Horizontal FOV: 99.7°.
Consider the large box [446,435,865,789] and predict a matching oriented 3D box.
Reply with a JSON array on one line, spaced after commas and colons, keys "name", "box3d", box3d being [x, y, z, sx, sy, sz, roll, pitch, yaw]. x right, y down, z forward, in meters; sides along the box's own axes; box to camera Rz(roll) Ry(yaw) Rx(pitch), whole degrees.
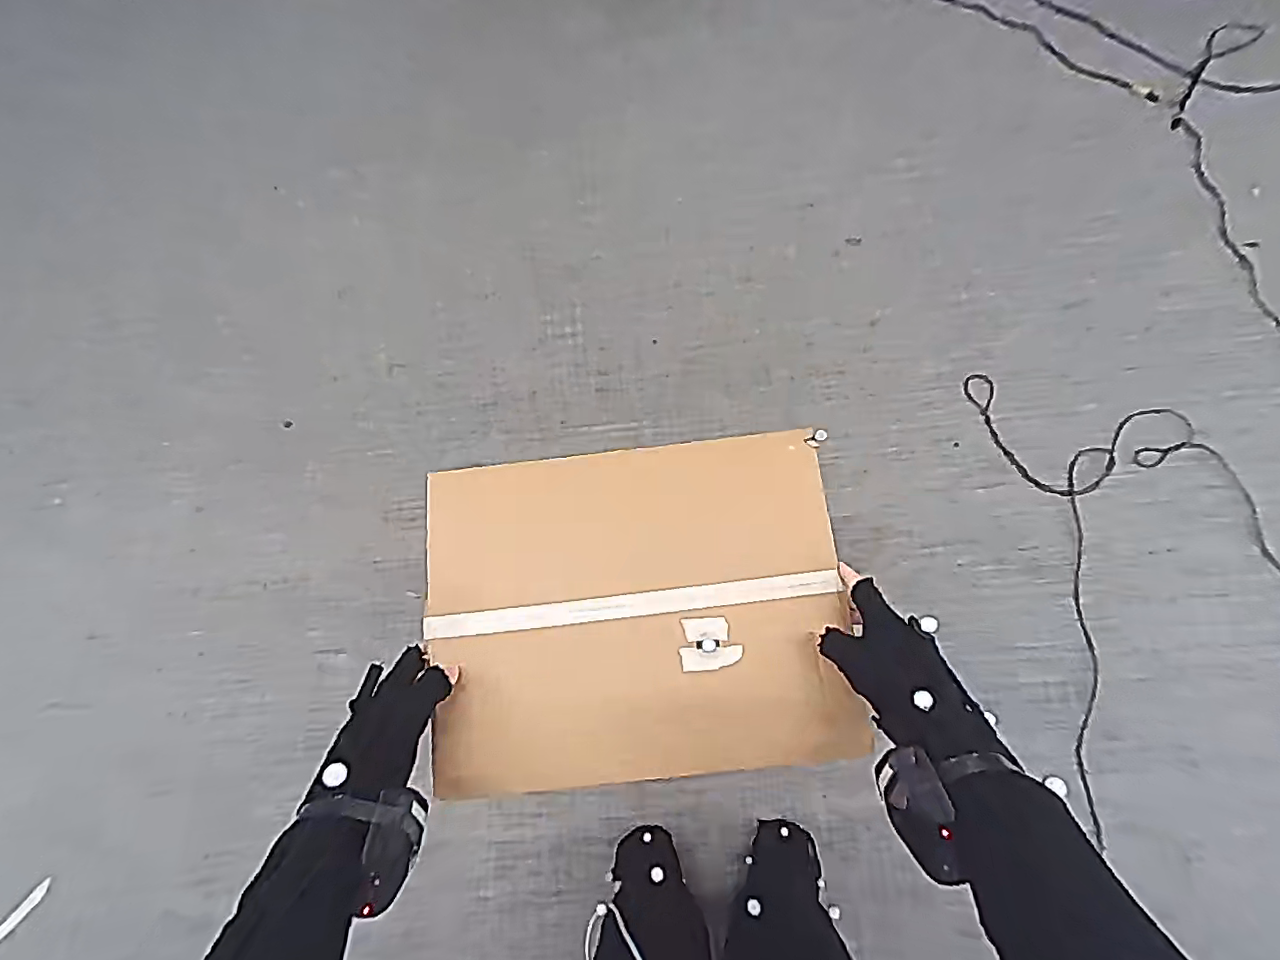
[{"name": "large box", "box3d": [0.007, 0.160, 0.696, 0.408, 0.320, 0.320, -7, 77, 1]}]
